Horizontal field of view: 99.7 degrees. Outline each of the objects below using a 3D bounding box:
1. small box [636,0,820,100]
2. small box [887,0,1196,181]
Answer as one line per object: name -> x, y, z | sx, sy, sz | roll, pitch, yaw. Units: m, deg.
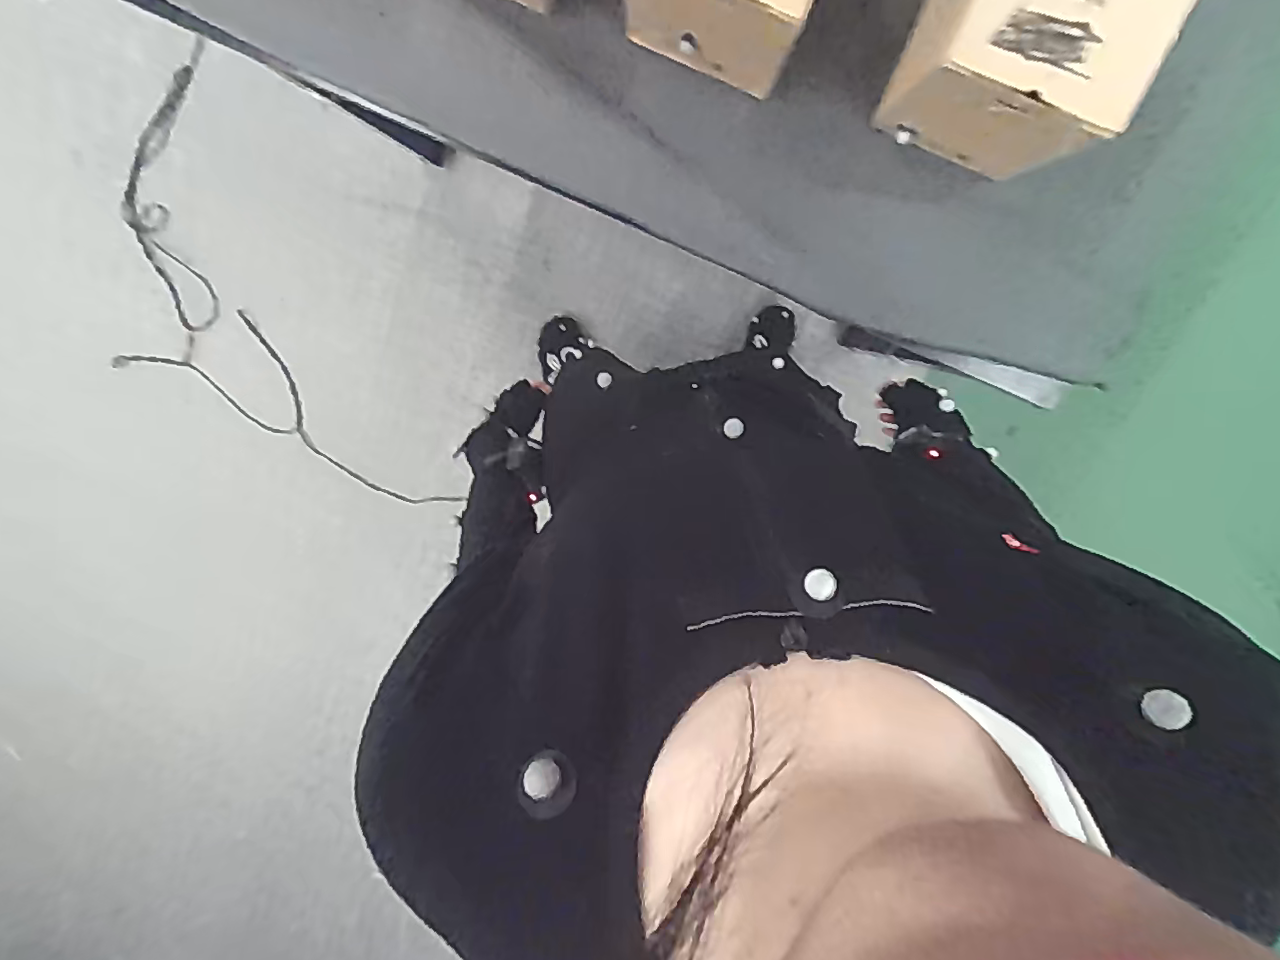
small box -> 0.096, -0.502, 0.499 | 0.168, 0.176, 0.179 | 20, 108, -5
small box -> 0.365, -0.415, 0.512 | 0.168, 0.176, 0.179 | 20, 106, -4
